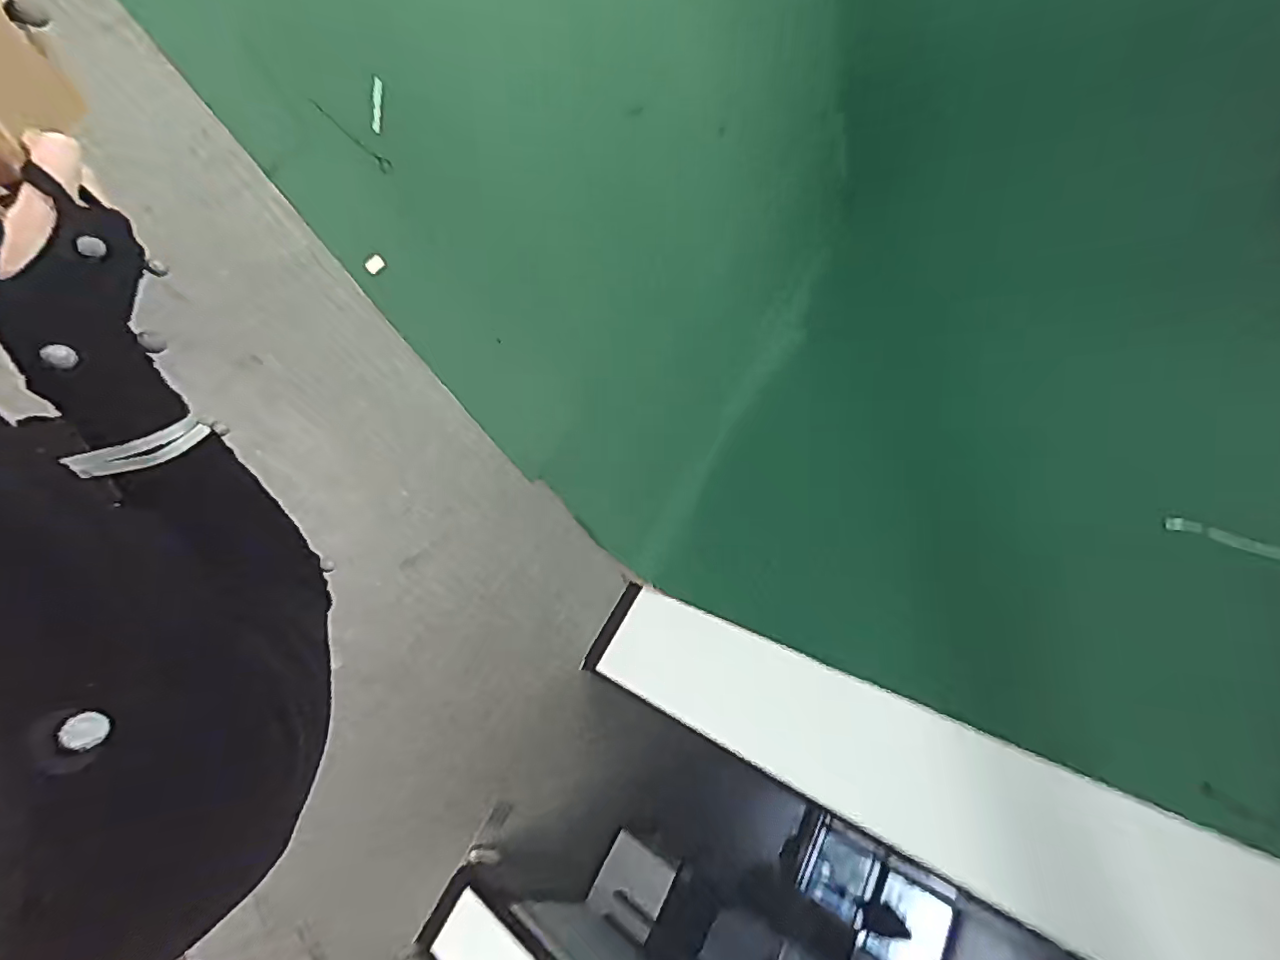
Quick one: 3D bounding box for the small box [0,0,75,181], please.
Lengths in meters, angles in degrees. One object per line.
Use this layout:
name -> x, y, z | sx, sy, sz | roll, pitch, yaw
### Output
small box -> -0.475, -0.260, 0.287 | 0.179, 0.176, 0.168 | -20, 140, -15
